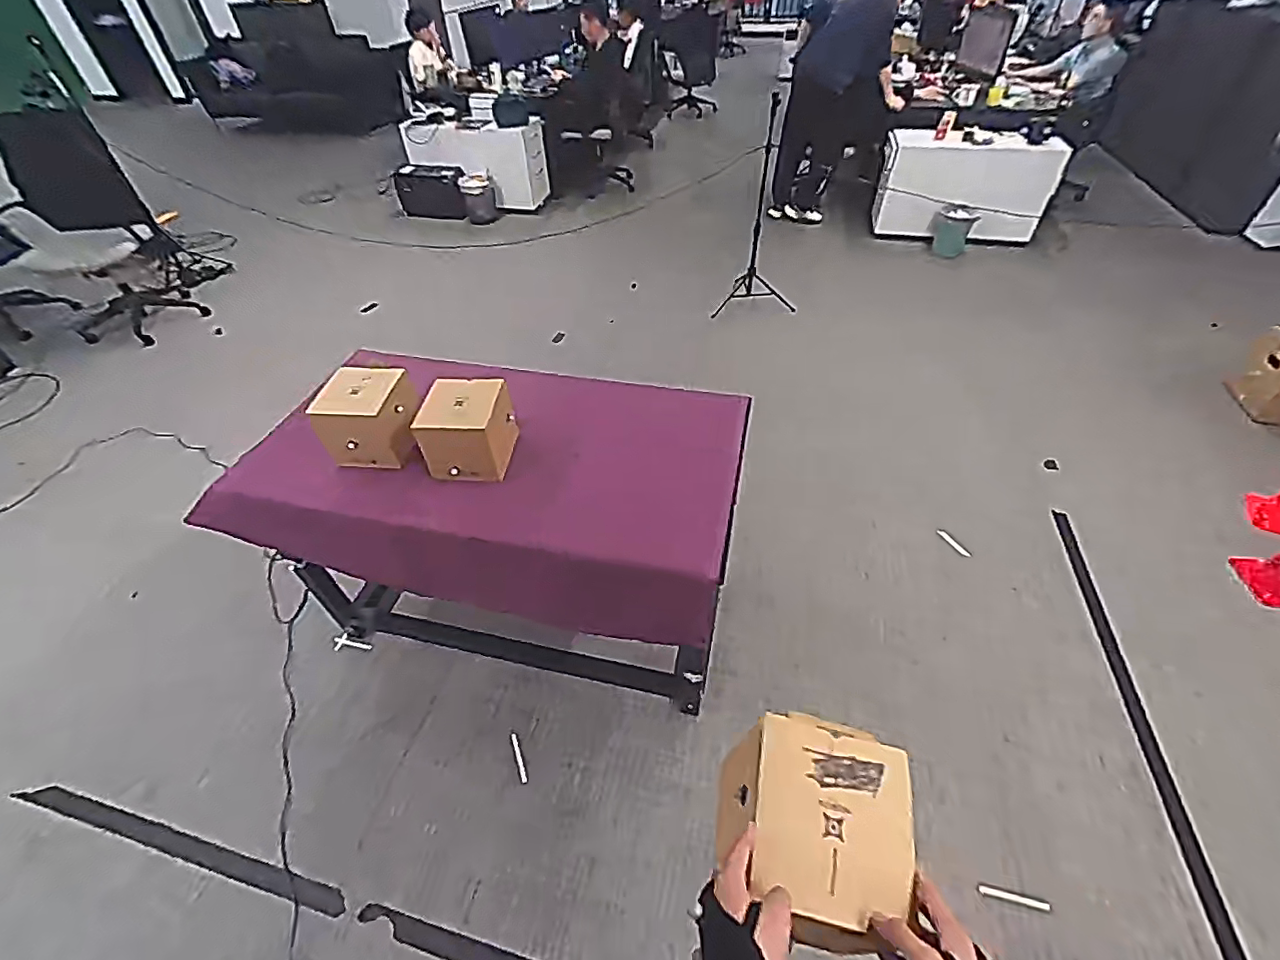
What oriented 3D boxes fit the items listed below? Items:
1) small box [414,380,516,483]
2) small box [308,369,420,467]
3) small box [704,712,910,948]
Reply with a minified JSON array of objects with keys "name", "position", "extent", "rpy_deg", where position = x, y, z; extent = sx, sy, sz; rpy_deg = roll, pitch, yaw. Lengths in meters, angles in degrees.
[{"name":"small box","position":[-0.396,-0.114,1.263],"extent":[0.168,0.176,0.179],"rpy_deg":[1,46,4]},{"name":"small box","position":[-0.644,-0.147,1.301],"extent":[0.168,0.176,0.179],"rpy_deg":[3,46,4]},{"name":"small box","position":[0.177,0.401,0.619],"extent":[0.168,0.176,0.179],"rpy_deg":[14,46,2]}]
